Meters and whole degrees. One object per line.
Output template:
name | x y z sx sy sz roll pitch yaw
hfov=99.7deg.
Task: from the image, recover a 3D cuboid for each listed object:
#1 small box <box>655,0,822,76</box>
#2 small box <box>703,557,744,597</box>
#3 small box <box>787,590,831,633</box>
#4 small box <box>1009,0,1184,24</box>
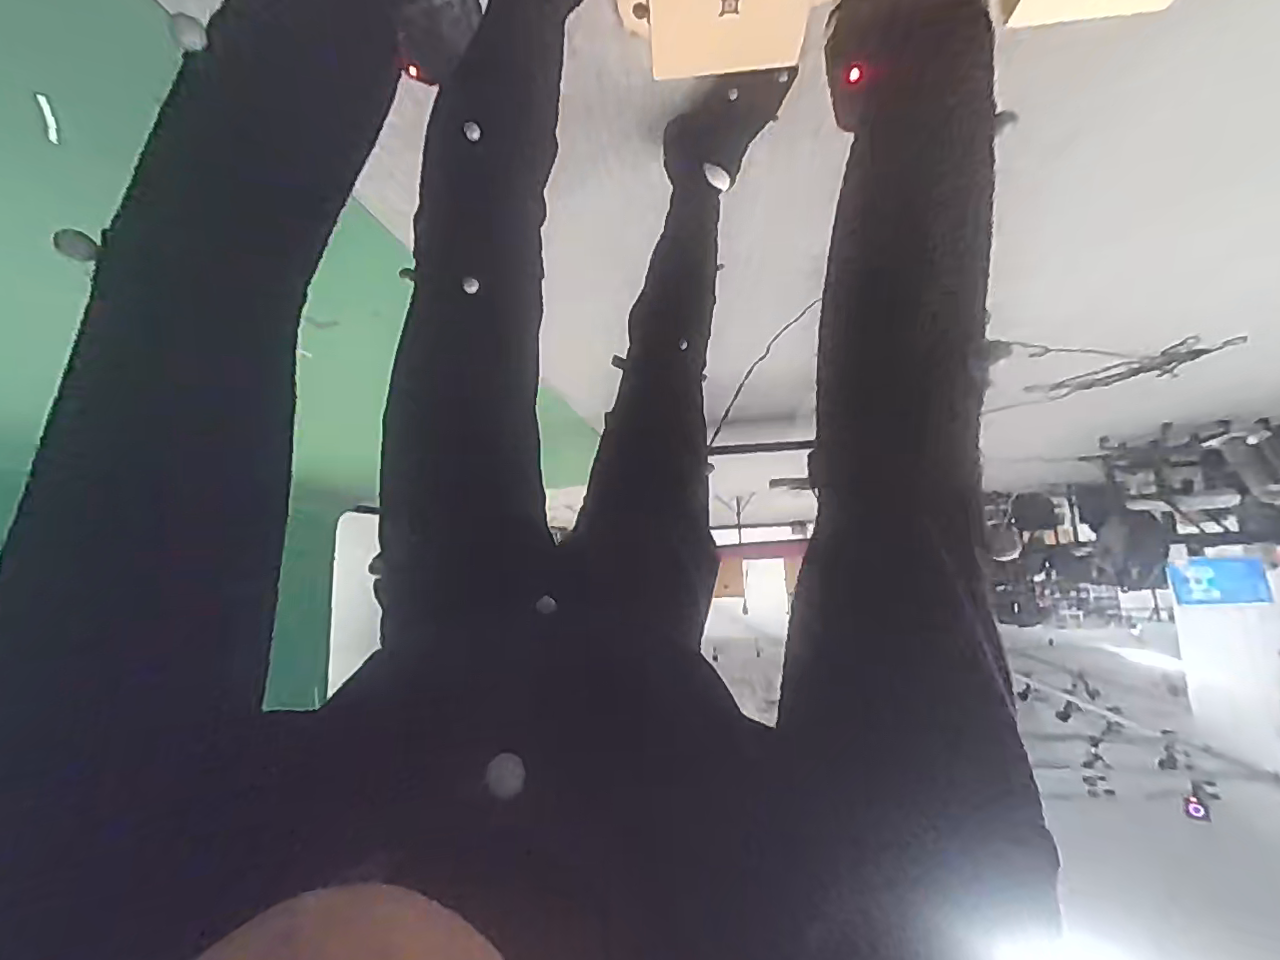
small box | 0.096 -0.554 0.536 0.168 0.176 0.179 -3 172 3
small box | 0.386 0.449 2.518 0.179 0.176 0.168 -2 173 5
small box | 0.758 0.588 2.431 0.168 0.176 0.179 -4 172 11
small box | 0.464 -0.575 0.491 0.168 0.176 0.179 -3 171 4
